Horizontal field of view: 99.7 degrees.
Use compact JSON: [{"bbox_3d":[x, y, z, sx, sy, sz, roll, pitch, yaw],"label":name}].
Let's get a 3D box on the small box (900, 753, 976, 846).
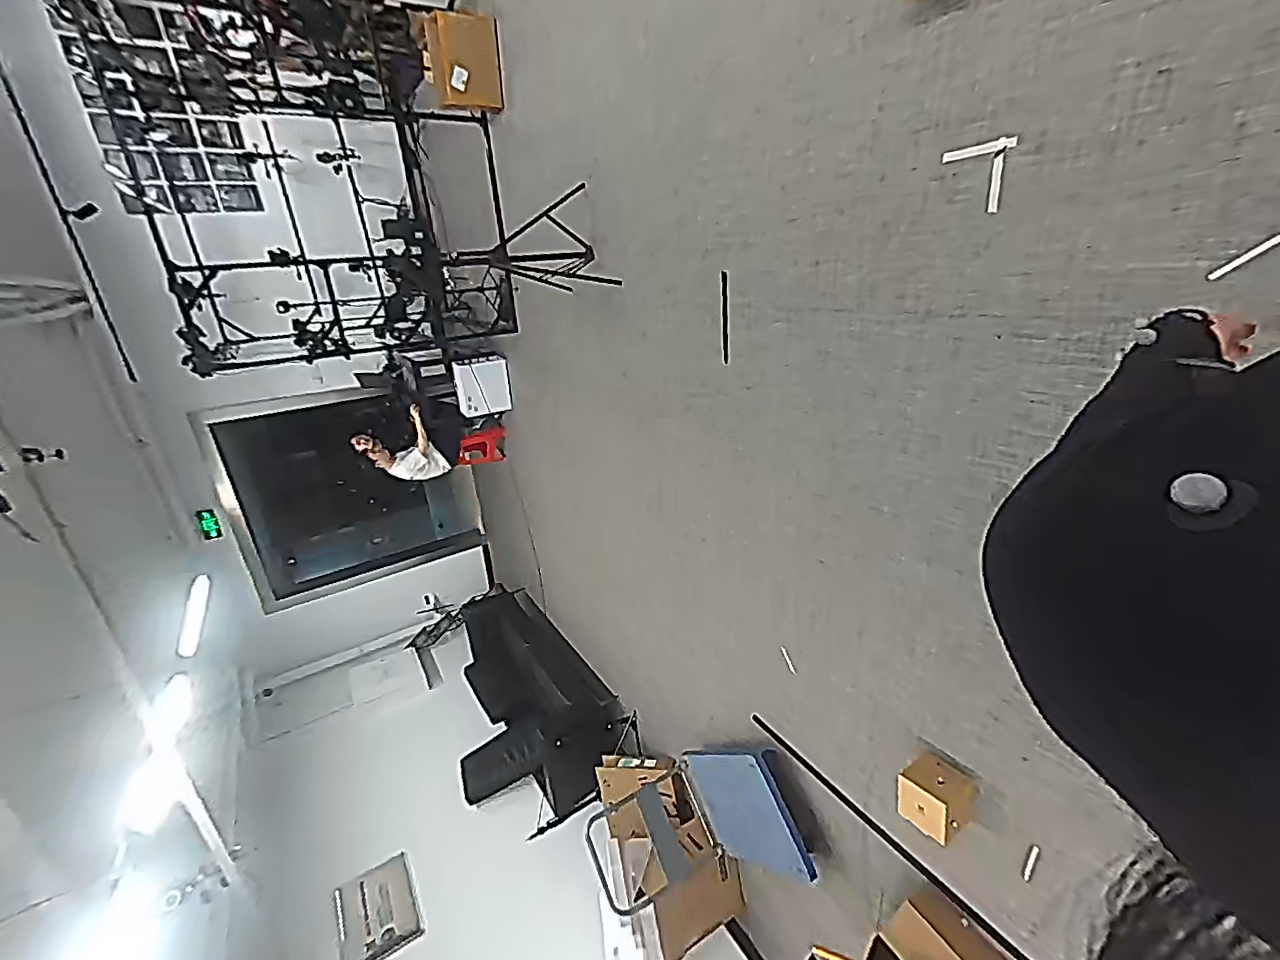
[{"bbox_3d":[1.005,1.067,1.823,0.168,0.176,0.179,18,121,56],"label":"small box"}]
